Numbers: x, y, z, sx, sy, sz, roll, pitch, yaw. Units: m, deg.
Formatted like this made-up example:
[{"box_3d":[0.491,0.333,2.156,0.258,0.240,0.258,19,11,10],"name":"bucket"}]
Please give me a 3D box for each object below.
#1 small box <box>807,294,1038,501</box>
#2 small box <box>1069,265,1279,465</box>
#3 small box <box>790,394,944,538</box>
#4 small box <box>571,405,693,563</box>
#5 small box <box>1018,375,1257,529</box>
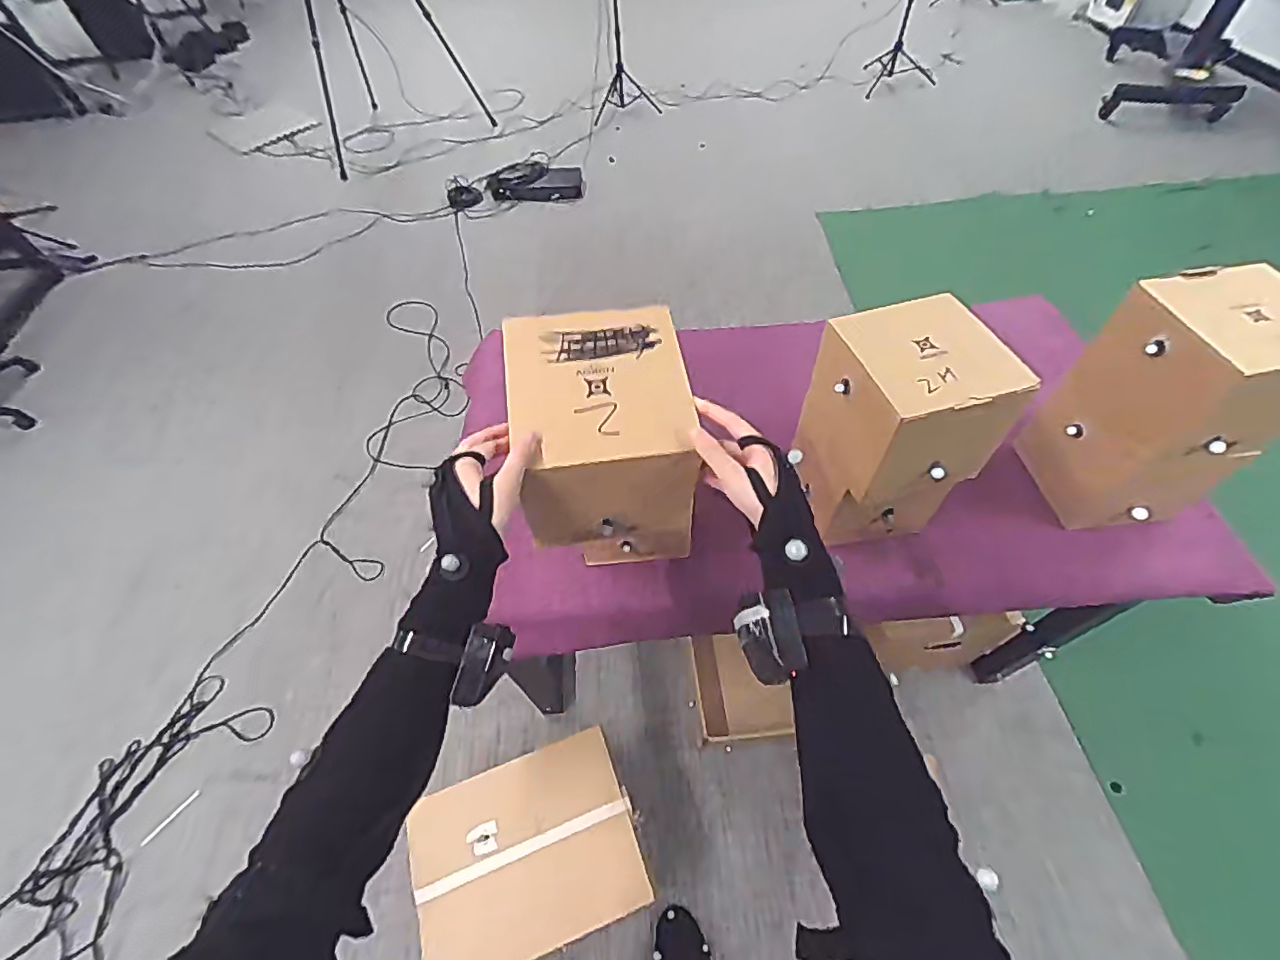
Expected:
[{"box_3d":[0.331,-0.102,0.682,0.168,0.176,0.179,-14,54,-5],"name":"small box"},{"box_3d":[0.710,-0.144,0.690,0.168,0.176,0.179,-8,53,0],"name":"small box"},{"box_3d":[0.344,-0.024,0.829,0.168,0.176,0.179,-8,54,-3],"name":"small box"},{"box_3d":[-0.012,0.009,0.828,0.168,0.176,0.179,-4,56,0],"name":"small box"},{"box_3d":[0.725,-0.047,0.820,0.168,0.176,0.179,-6,54,1],"name":"small box"}]
